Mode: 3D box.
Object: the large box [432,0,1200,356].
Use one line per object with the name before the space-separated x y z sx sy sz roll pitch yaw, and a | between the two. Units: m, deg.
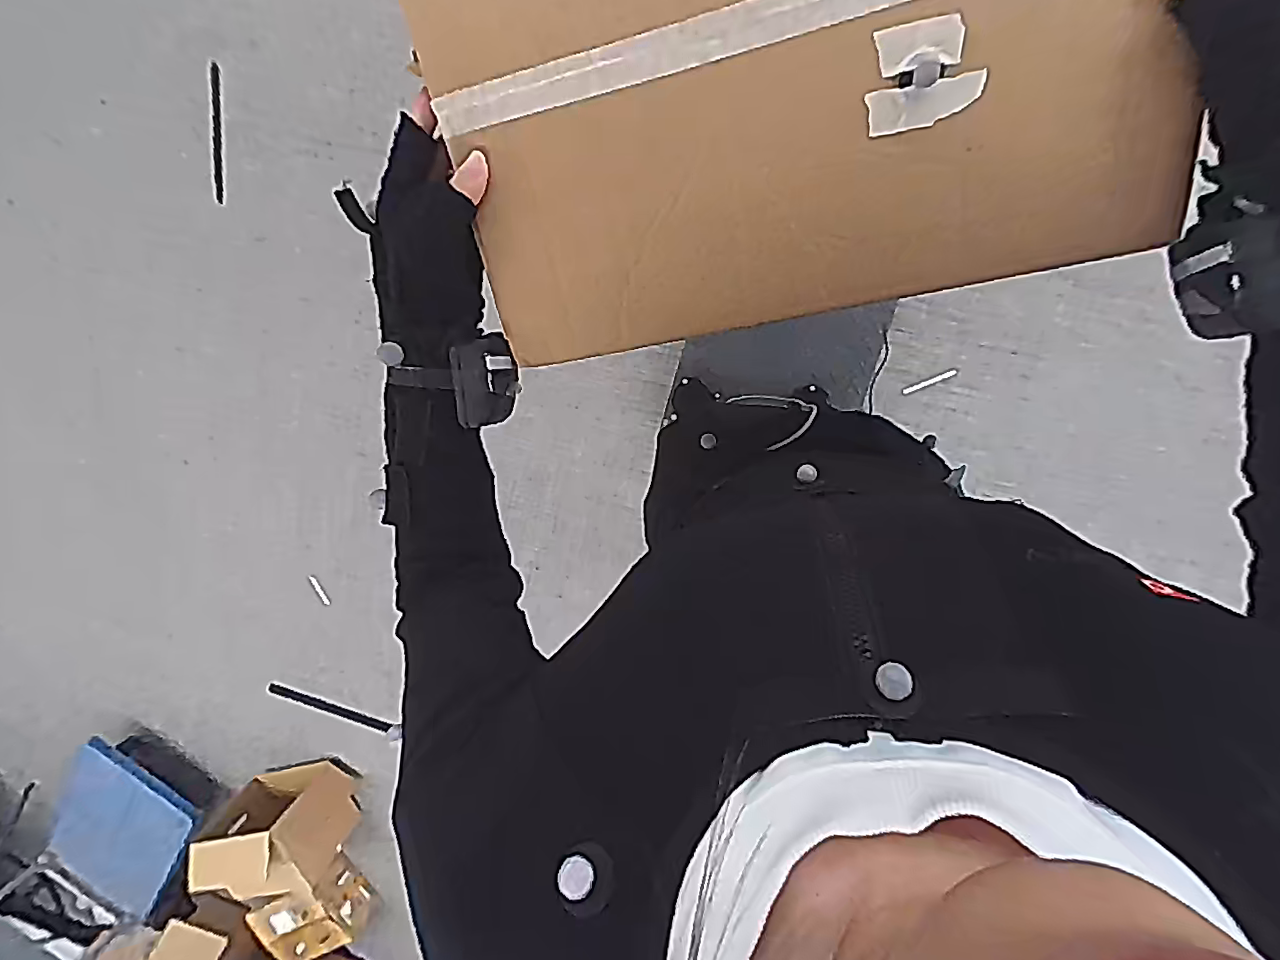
large box | 0.099 -0.317 0.431 0.408 0.320 0.320 -8 114 11
